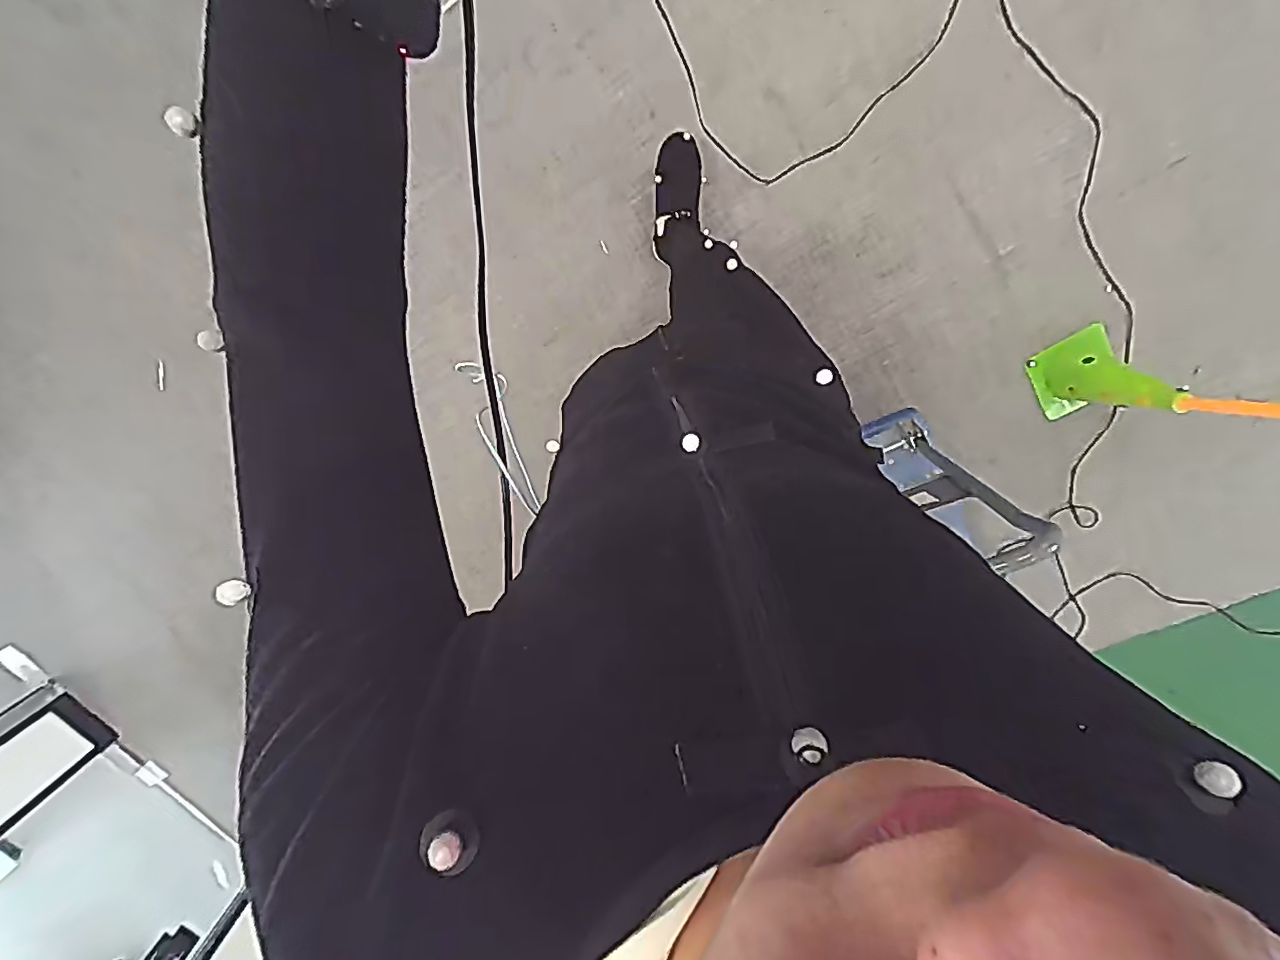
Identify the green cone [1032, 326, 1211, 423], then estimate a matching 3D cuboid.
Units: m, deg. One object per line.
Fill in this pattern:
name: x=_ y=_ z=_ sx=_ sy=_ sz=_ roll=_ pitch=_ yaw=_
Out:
green cone: x=1.157 y=-0.214 z=1.275 sx=0.202 sy=0.368 sz=0.200 roll=-32 pitch=106 yaw=15
